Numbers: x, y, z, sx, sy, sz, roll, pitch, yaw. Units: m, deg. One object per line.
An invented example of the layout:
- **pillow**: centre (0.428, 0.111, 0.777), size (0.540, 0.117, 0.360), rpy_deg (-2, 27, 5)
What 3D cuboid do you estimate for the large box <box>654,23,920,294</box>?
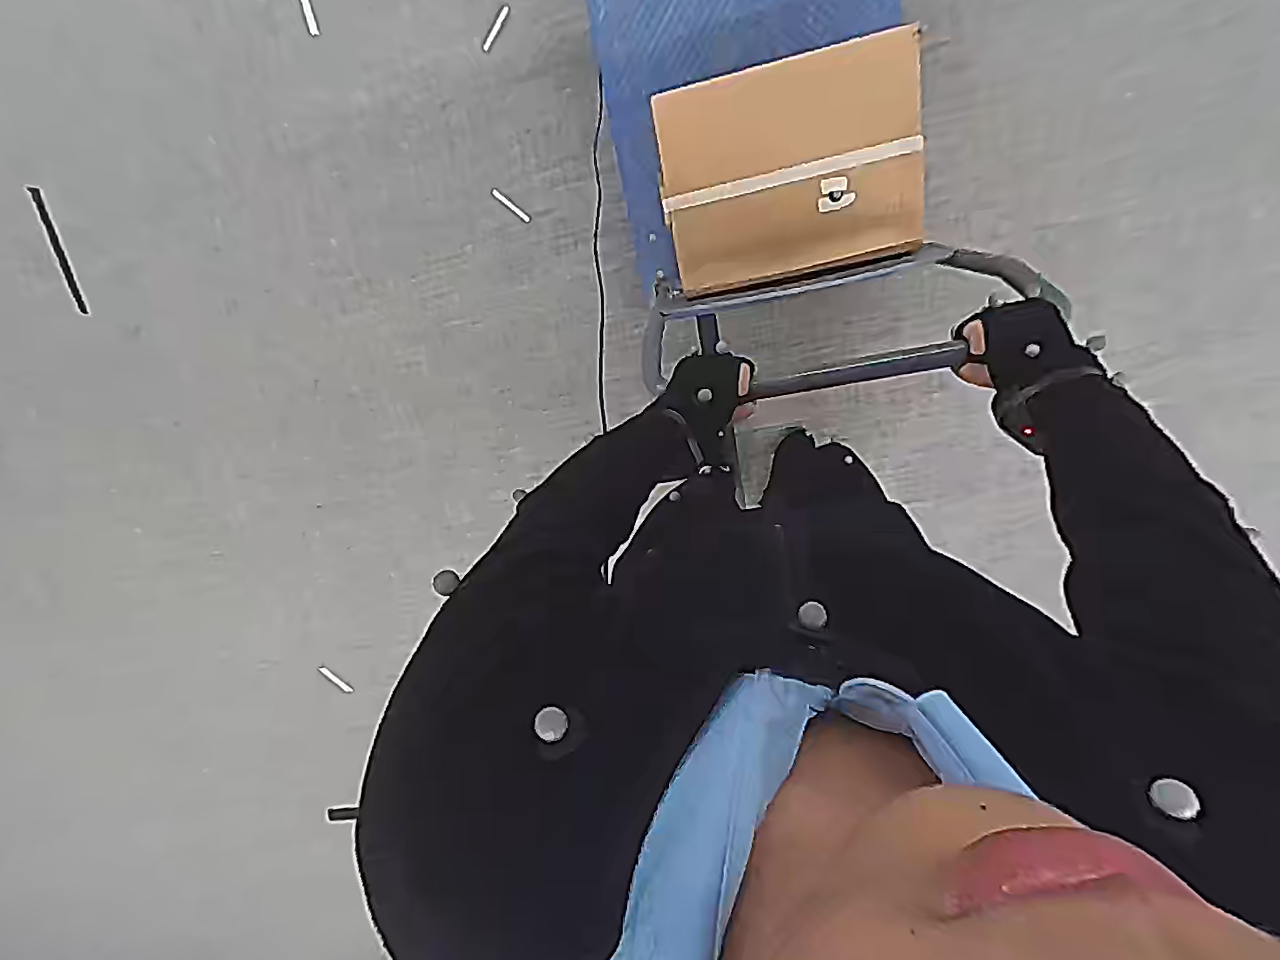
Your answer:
- **large box**: centre (0.258, -0.563, 1.027), size (0.408, 0.320, 0.320), rpy_deg (-10, 112, 9)
